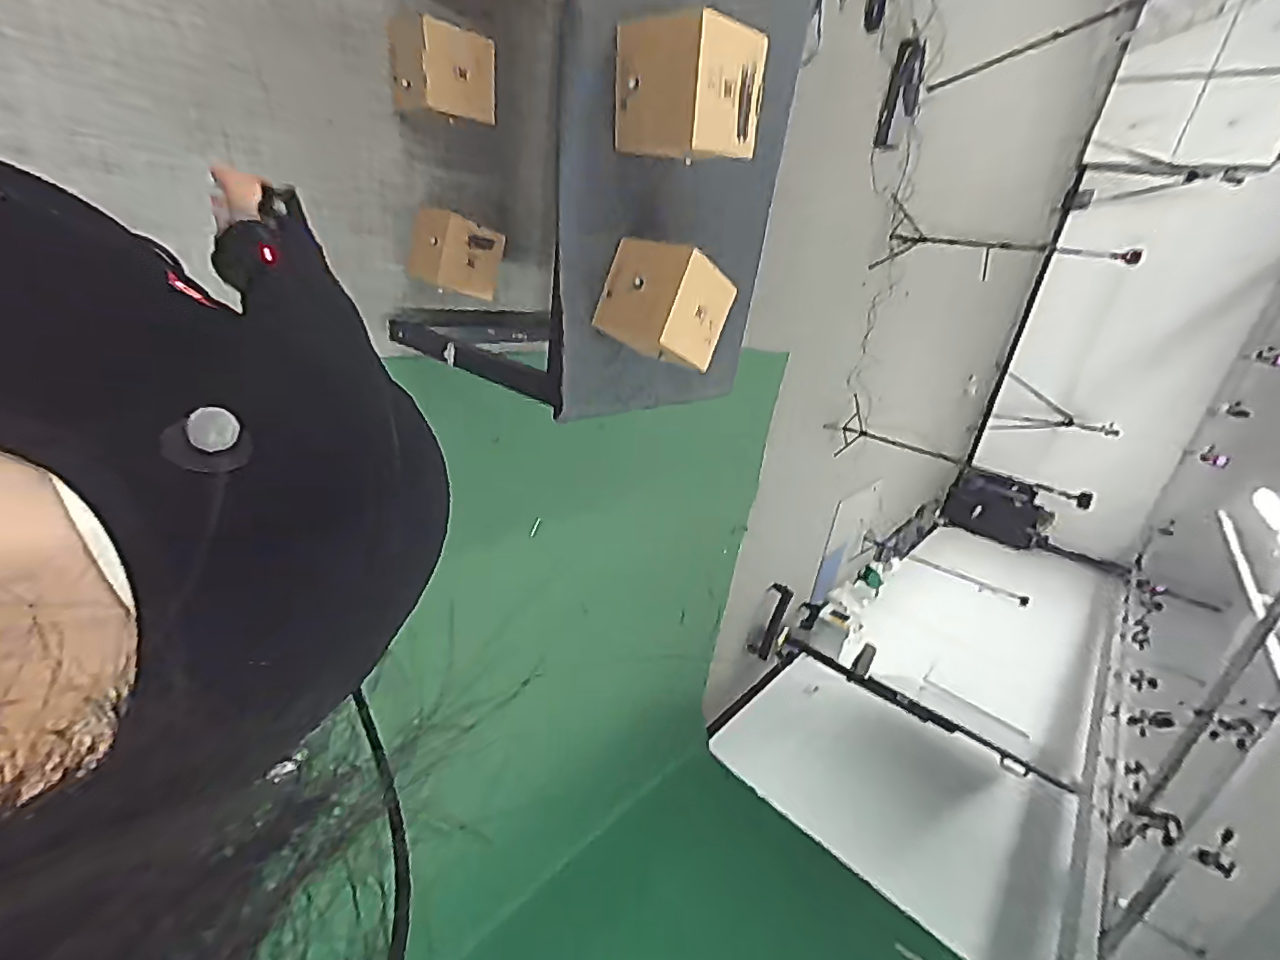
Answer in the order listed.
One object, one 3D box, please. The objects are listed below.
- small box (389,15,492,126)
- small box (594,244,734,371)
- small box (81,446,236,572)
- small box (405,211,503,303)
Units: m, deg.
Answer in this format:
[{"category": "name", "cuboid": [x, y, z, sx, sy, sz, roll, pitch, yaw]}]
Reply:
[{"category": "small box", "cuboid": [-0.466, -0.938, 1.258, 0.179, 0.176, 0.168, -20, 125, -45]}, {"category": "small box", "cuboid": [0.043, -0.322, 1.007, 0.179, 0.176, 0.168, 13, 100, -56]}, {"category": "small box", "cuboid": [-1.023, 0.056, 1.152, 0.168, 0.176, 0.179, -46, 141, -24]}, {"category": "small box", "cuboid": [-0.494, -0.589, 1.427, 0.168, 0.176, 0.179, 2, 111, -51]}]
